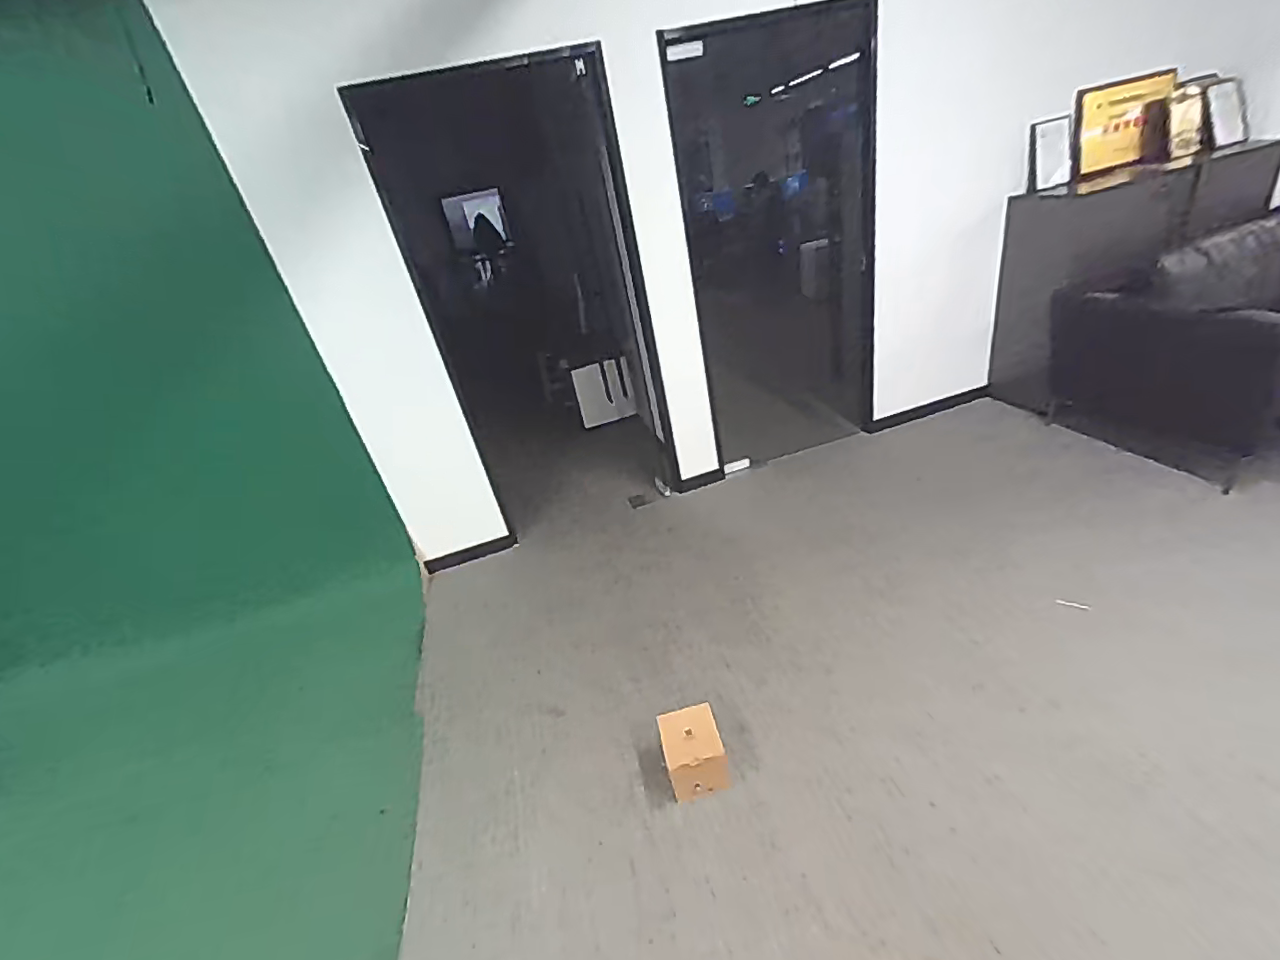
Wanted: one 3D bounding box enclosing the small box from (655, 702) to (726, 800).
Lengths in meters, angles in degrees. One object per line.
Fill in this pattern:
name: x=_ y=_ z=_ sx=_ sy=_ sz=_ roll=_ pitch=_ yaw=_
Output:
small box: x=0.148 y=0.800 z=1.597 sx=0.168 sy=0.176 sz=0.179 roll=-14 pitch=29 yaw=-3
